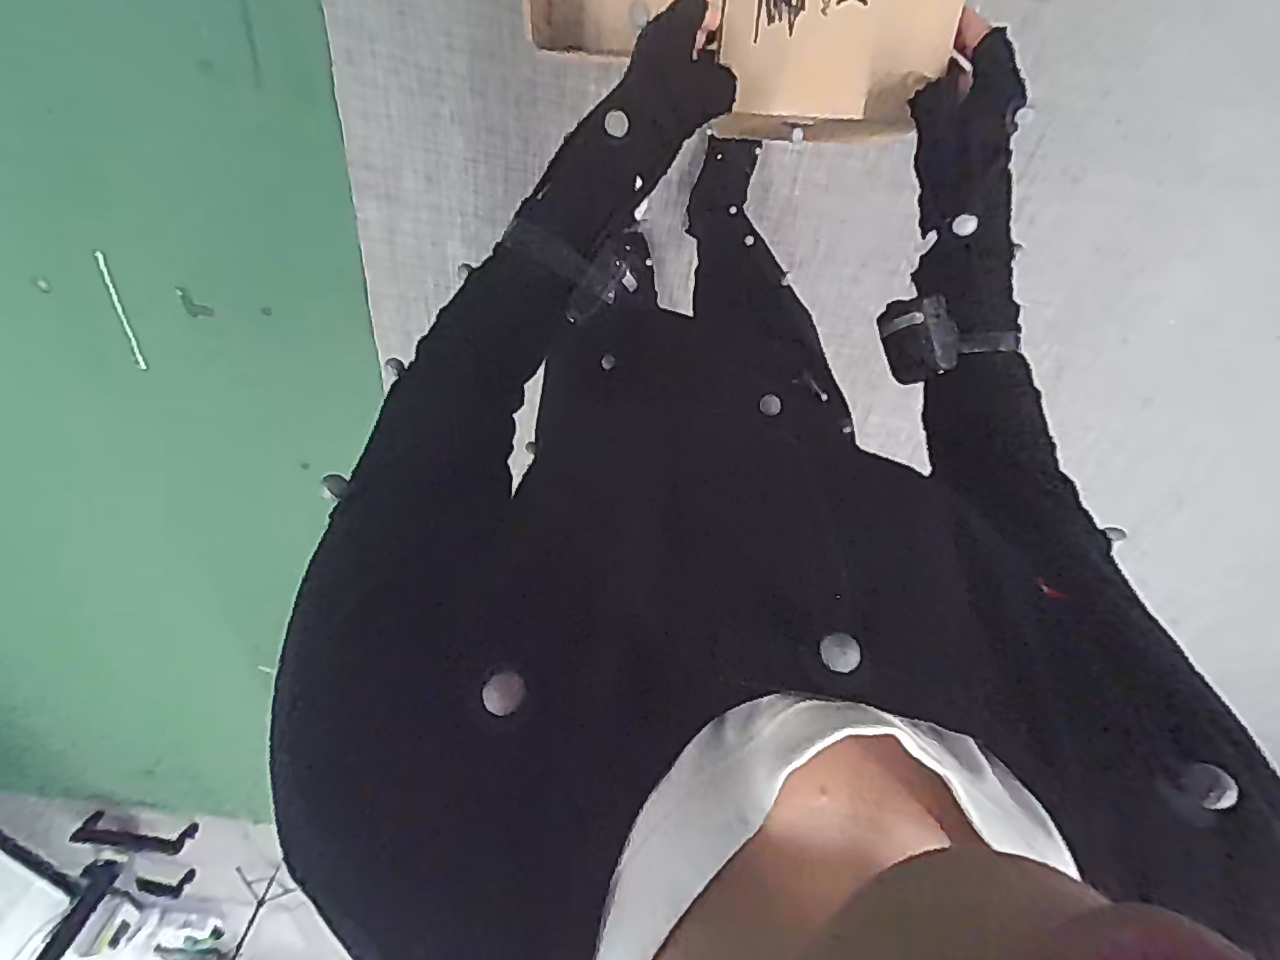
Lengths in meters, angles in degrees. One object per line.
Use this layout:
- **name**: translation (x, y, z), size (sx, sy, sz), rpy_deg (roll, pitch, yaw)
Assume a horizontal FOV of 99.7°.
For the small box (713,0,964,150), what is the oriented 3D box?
- **small box**: translation (0.161, -0.393, 0.470), size (0.179, 0.176, 0.168), rpy_deg (6, 117, 5)
